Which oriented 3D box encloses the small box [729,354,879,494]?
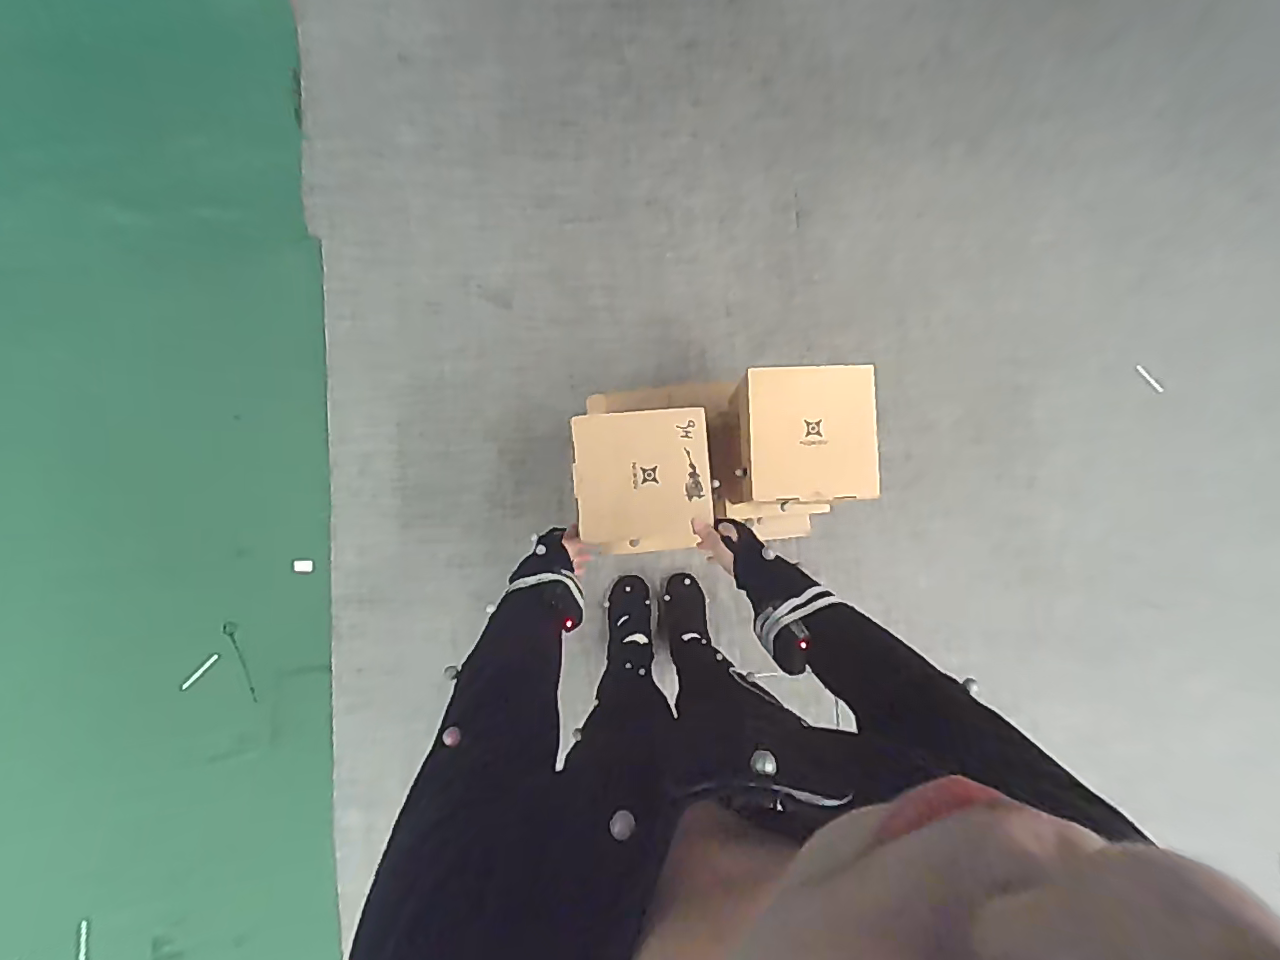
[{"bbox_3d":[0.224,-0.071,0.778,0.168,0.176,0.179,-1,87,0],"label":"small box"}]
